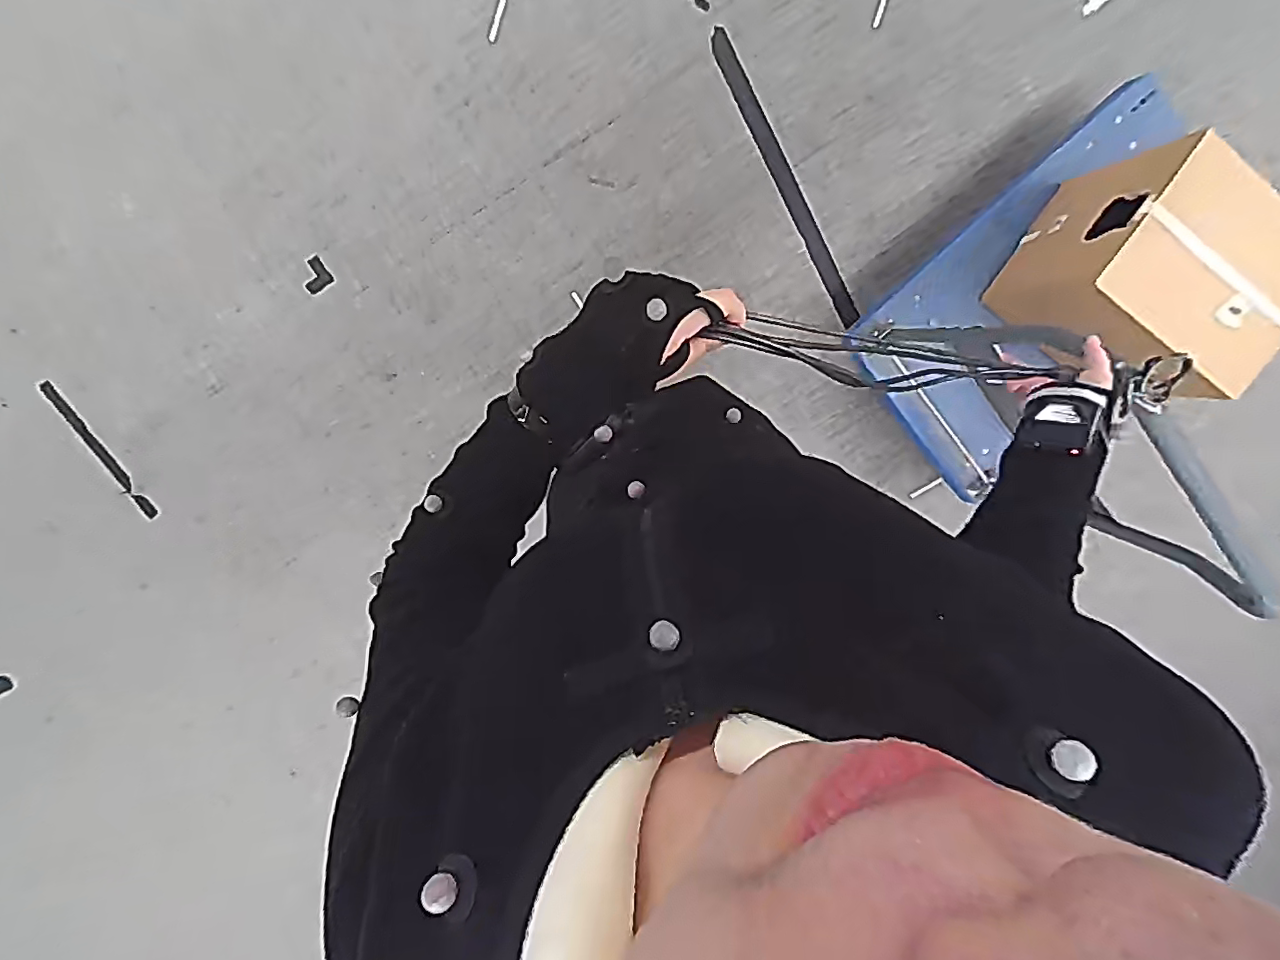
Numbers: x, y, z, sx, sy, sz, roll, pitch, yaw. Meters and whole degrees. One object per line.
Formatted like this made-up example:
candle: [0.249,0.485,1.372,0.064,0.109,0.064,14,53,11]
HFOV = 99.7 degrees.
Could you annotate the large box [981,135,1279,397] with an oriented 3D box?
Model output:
large box: [1.054,-0.418,1.148,0.408,0.320,0.320,31,99,-11]
